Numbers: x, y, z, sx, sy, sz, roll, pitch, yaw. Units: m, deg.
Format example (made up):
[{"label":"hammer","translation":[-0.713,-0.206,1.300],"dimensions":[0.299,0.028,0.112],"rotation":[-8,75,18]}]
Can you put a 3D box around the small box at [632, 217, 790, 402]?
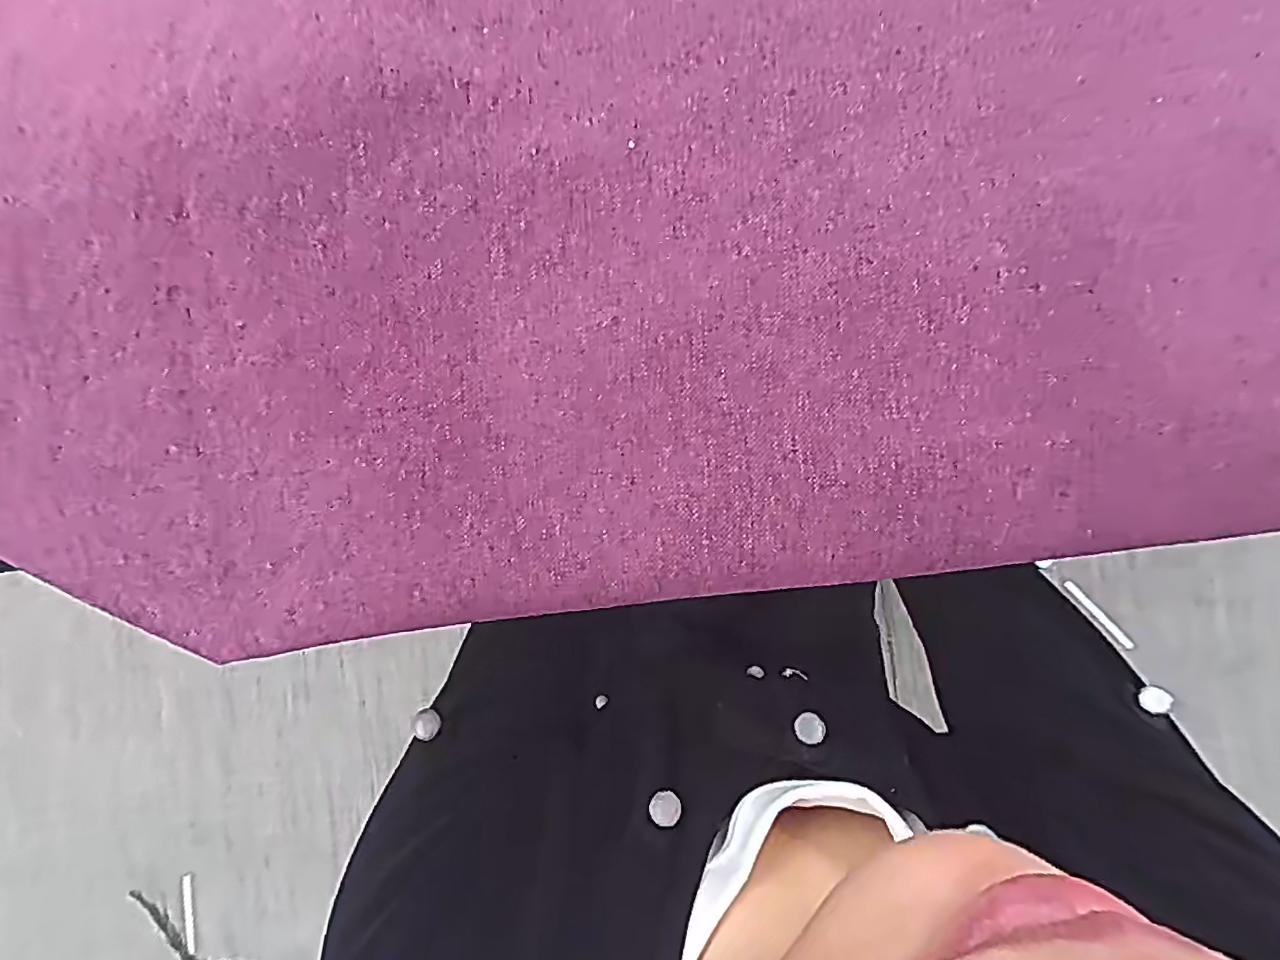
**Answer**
[{"label":"small box","translation":[0.087,-0.210,0.714],"dimensions":[0.168,0.176,0.179],"rotation":[-10,90,4]}]
